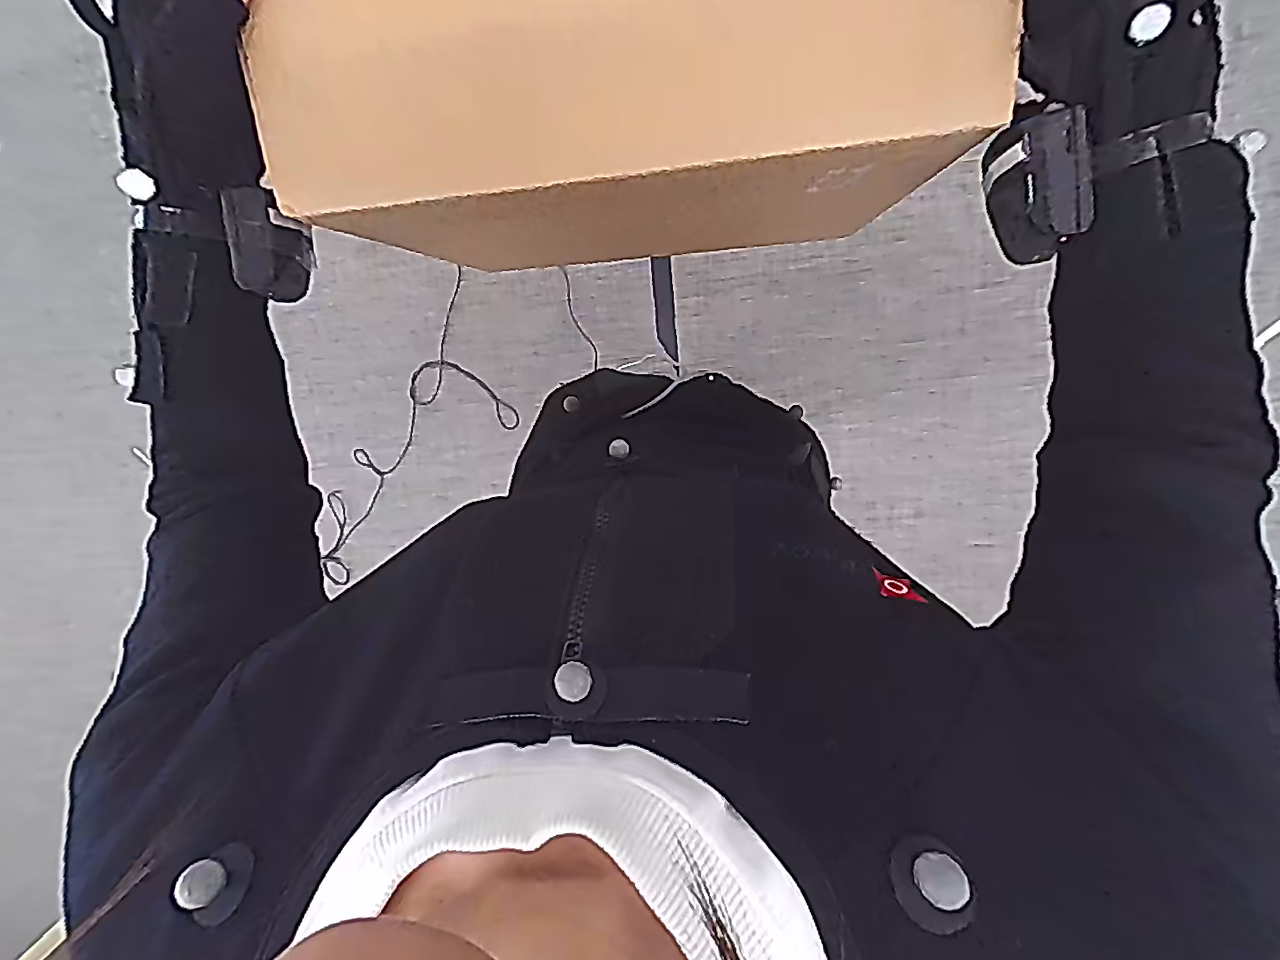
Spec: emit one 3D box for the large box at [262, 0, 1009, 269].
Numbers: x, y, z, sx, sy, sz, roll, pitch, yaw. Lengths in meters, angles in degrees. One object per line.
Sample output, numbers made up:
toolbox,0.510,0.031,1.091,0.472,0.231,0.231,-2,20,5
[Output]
large box,-0.006,-0.364,0.414,0.408,0.320,0.320,-3,105,7
